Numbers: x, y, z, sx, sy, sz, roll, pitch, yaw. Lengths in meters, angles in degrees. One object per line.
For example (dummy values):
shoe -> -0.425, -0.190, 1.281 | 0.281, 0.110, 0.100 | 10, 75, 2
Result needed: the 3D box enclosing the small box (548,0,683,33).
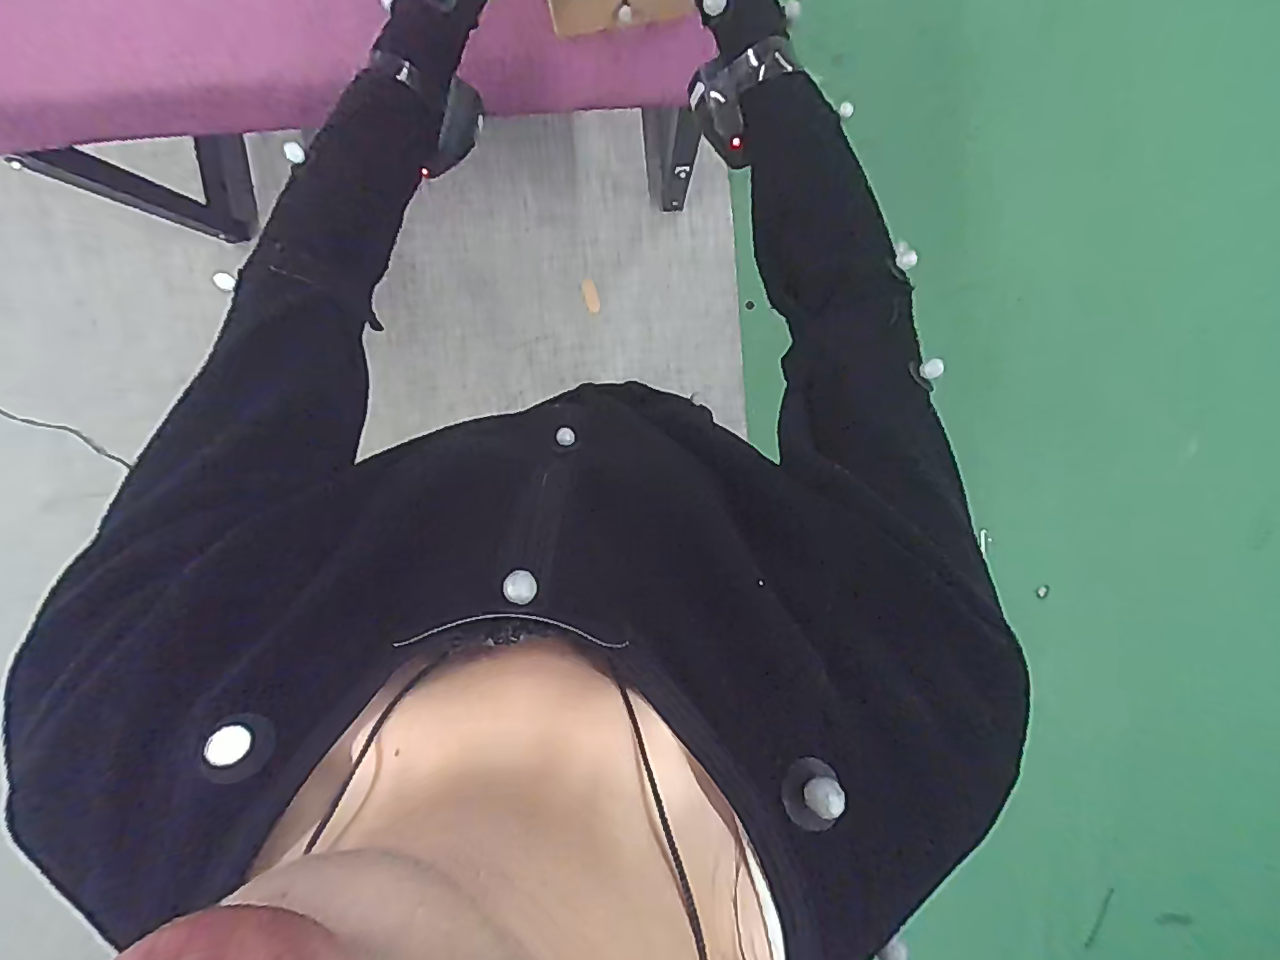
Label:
small box -> -0.031, -0.639, 0.591 | 0.179, 0.176, 0.168 | -9, 99, 1
